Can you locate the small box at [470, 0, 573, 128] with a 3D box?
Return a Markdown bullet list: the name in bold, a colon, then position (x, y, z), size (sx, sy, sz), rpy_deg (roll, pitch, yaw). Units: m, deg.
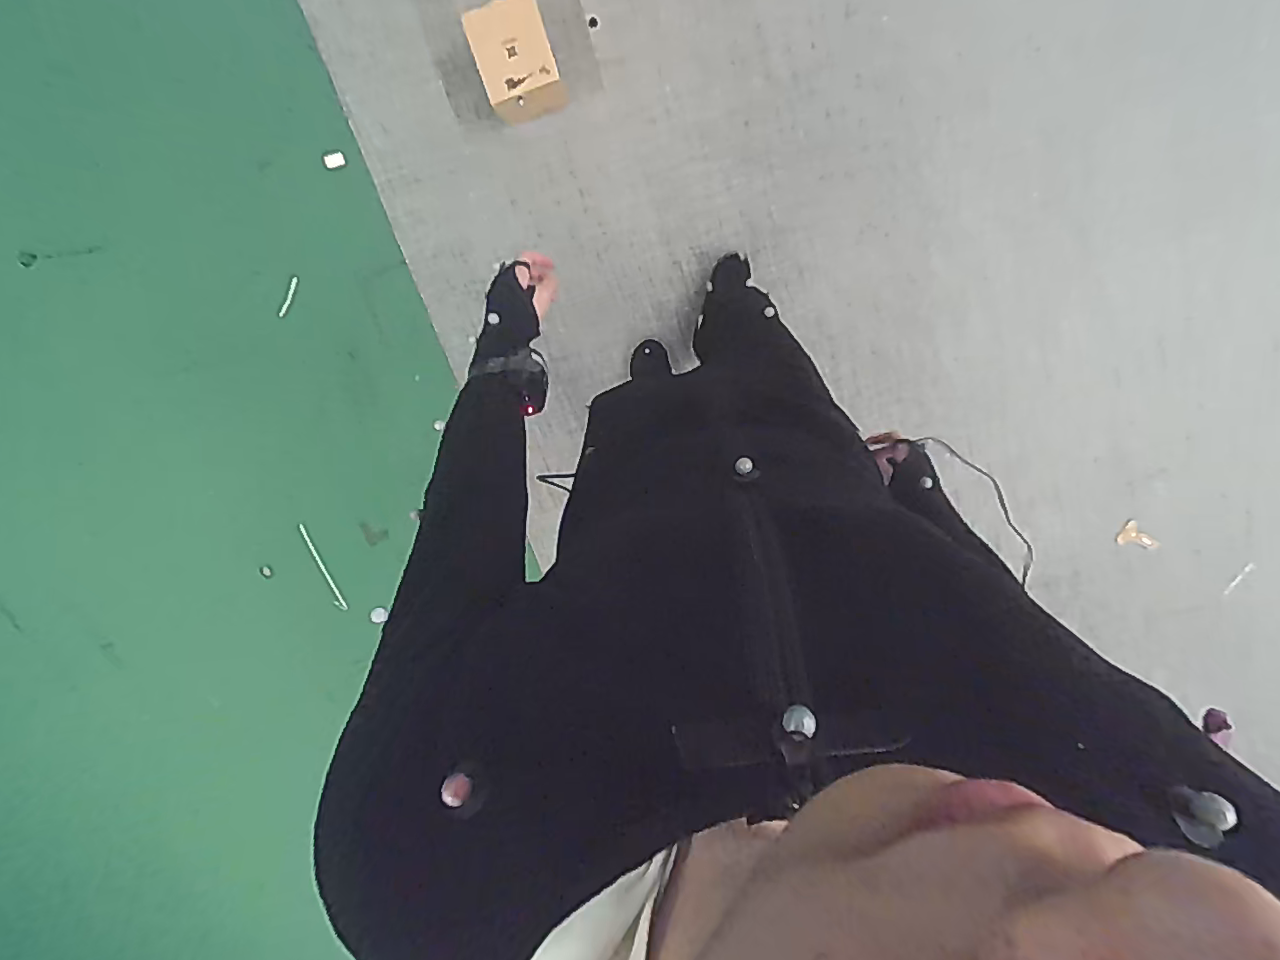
- **small box**: position (-0.265, -0.958, 1.250), size (0.168, 0.176, 0.179), rpy_deg (-17, 107, 5)
